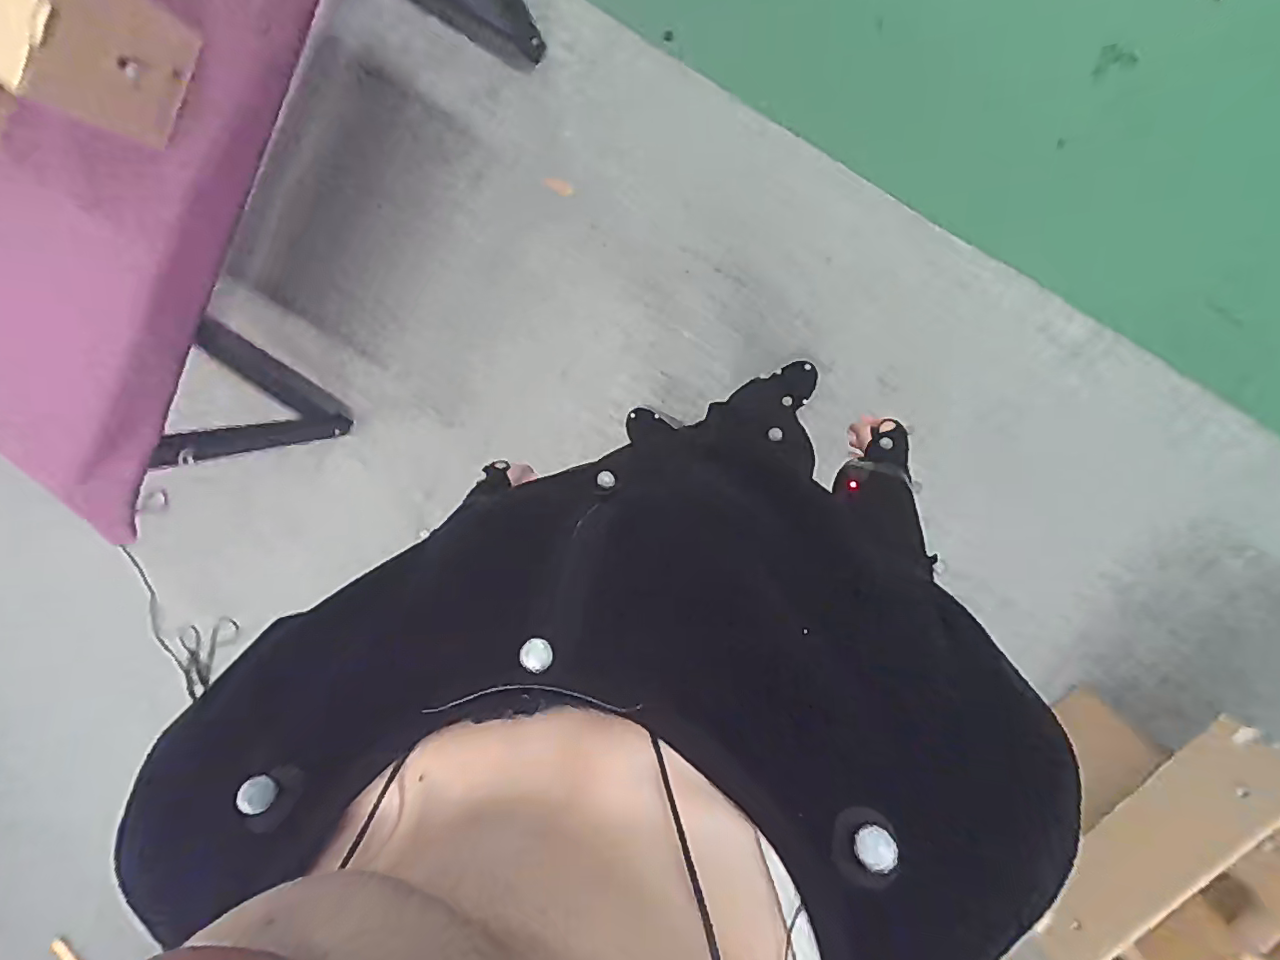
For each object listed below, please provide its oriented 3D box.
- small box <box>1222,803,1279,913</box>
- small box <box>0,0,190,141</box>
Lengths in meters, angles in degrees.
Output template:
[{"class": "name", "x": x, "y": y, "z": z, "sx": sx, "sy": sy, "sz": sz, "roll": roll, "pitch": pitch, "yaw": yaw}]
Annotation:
[{"class": "small box", "x": 1.250, "y": 0.734, "z": 0.976, "sx": 0.179, "sy": 0.176, "sz": 0.168, "roll": 30, "pitch": 103, "yaw": 2}, {"class": "small box", "x": -0.720, "y": -0.559, "z": 0.667, "sx": 0.179, "sy": 0.176, "sz": 0.168, "roll": 34, "pitch": 103, "yaw": 1}]
